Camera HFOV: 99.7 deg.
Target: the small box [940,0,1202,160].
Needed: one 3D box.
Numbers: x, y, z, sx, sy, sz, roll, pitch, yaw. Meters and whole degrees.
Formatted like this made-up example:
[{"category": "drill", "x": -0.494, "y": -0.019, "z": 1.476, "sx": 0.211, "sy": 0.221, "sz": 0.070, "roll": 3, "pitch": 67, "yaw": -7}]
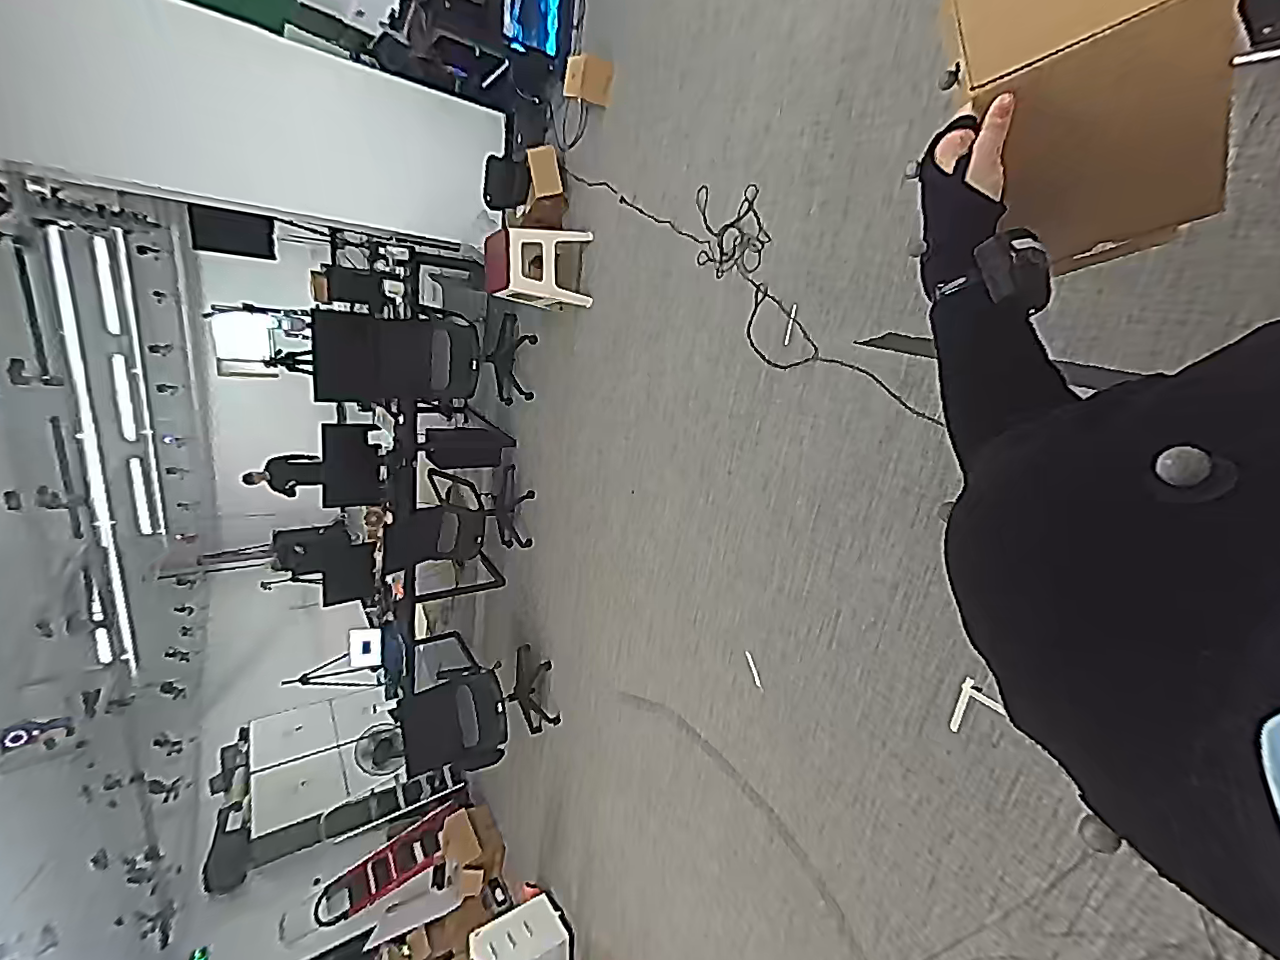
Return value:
[{"category": "small box", "x": 0.376, "y": -0.430, "z": 0.492, "sx": 0.168, "sy": 0.176, "sz": 0.179, "roll": -9, "pitch": 84, "yaw": 31}]
